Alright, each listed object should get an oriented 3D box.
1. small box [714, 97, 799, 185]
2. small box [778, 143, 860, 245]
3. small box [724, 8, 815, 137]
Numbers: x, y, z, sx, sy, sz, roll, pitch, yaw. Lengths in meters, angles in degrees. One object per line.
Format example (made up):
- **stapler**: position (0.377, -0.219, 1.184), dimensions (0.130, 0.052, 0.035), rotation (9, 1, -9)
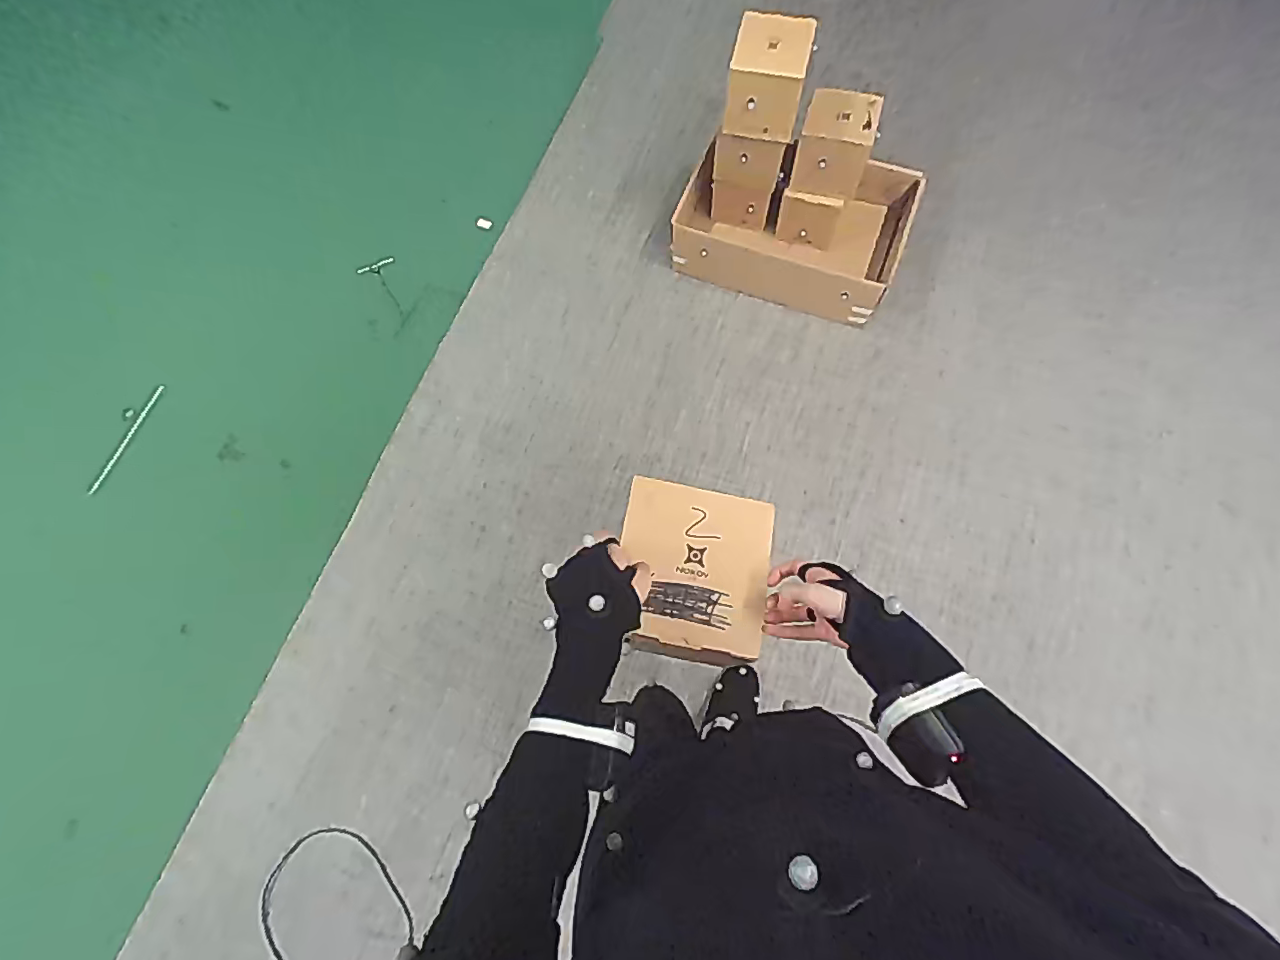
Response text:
- **small box**: position (0.302, -0.915, 1.423), dimensions (0.179, 0.176, 0.168), rotation (16, 77, 9)
- **small box**: position (0.504, -0.814, 1.548), dimensions (0.168, 0.176, 0.179), rotation (20, 77, 12)
- **small box**: position (0.295, -0.944, 1.263), dimensions (0.168, 0.176, 0.179), rotation (13, 76, 8)
